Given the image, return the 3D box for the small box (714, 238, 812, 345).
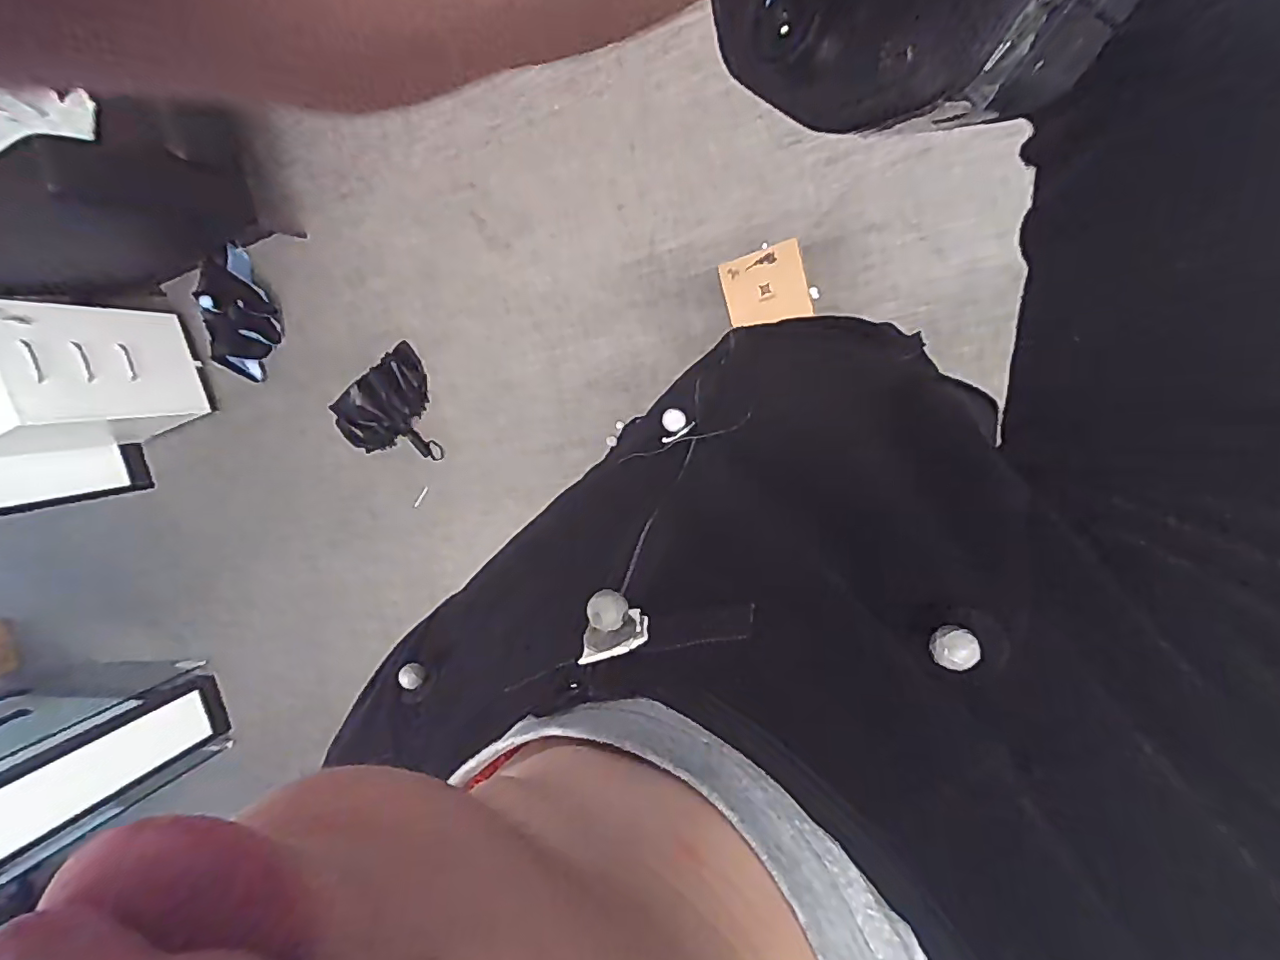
[{"bbox_3d":[0.278,-0.407,1.196,0.168,0.176,0.179,-13,98,22],"label":"small box"}]
